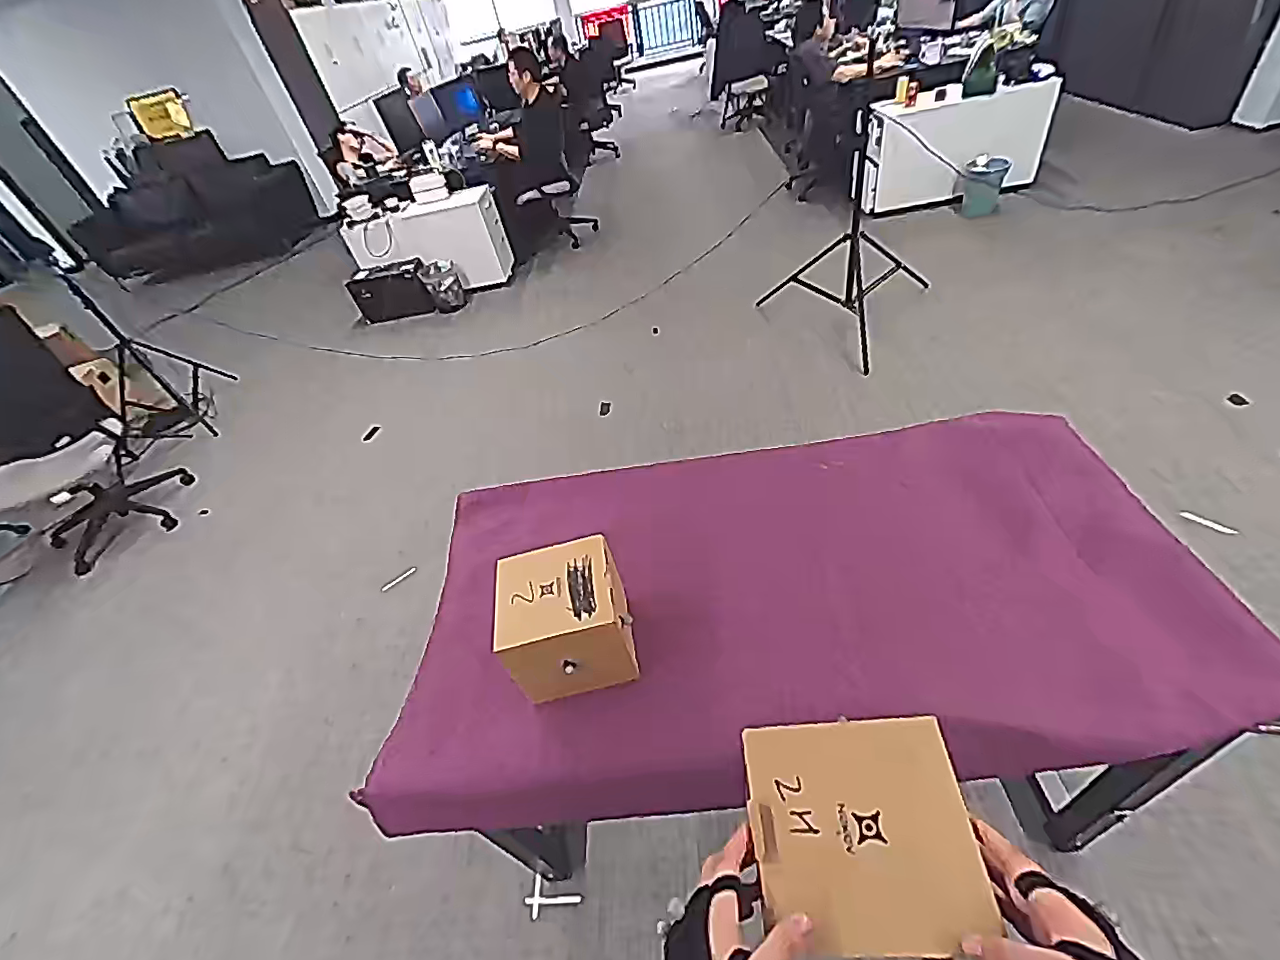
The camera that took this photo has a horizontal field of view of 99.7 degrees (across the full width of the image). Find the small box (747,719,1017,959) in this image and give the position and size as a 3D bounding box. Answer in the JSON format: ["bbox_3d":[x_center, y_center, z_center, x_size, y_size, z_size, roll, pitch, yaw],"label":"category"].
[{"bbox_3d":[0.203,0.338,0.505,0.179,0.176,0.168,-10,48,11],"label":"small box"}]
